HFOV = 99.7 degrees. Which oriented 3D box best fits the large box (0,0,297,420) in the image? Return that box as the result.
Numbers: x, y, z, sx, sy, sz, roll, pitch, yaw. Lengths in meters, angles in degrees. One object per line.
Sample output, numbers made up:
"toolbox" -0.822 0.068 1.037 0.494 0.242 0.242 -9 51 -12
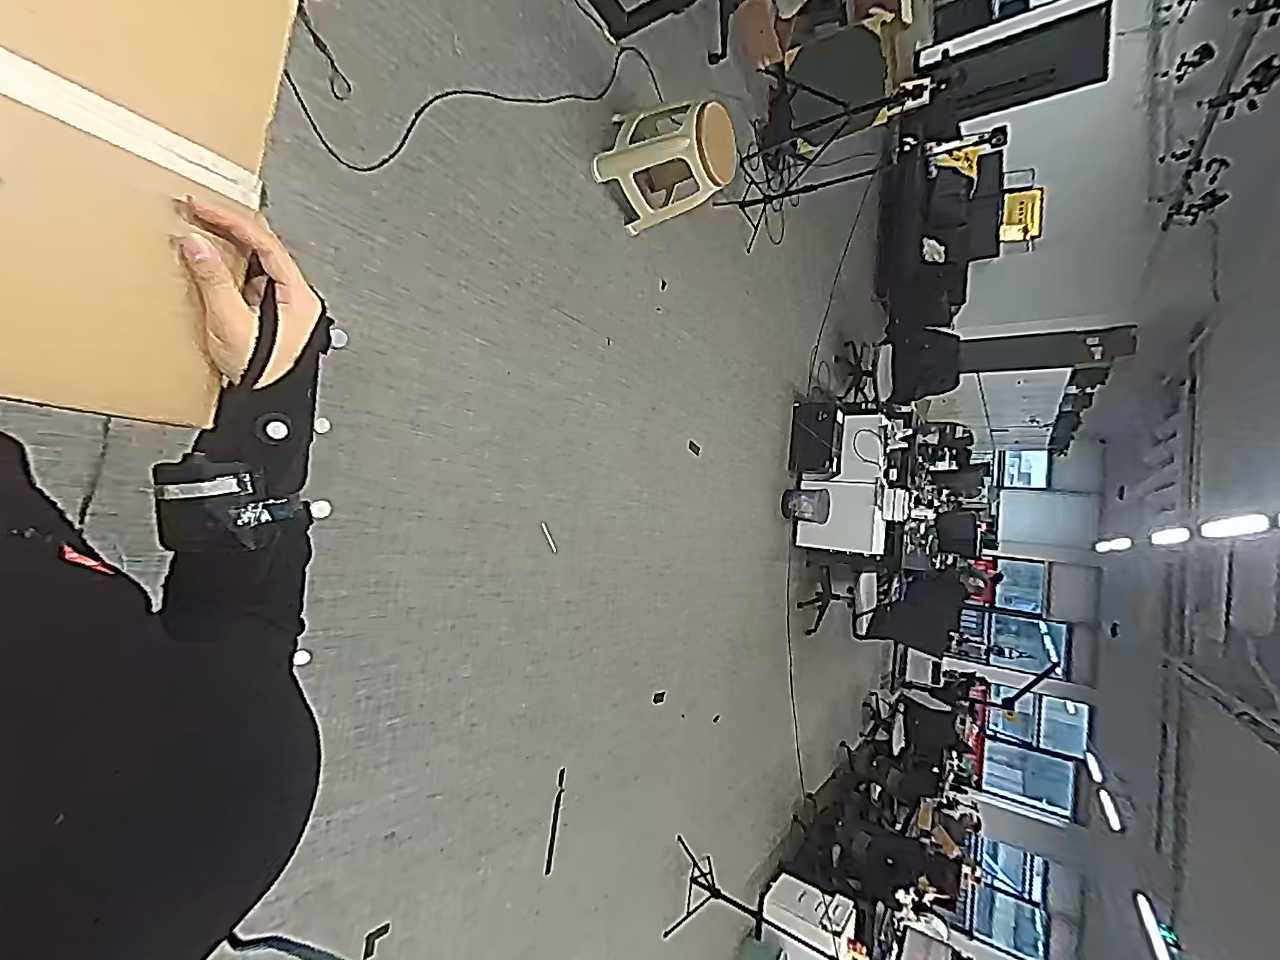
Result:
"large box" -0.490 -0.228 0.288 0.408 0.320 0.320 11 90 -55
